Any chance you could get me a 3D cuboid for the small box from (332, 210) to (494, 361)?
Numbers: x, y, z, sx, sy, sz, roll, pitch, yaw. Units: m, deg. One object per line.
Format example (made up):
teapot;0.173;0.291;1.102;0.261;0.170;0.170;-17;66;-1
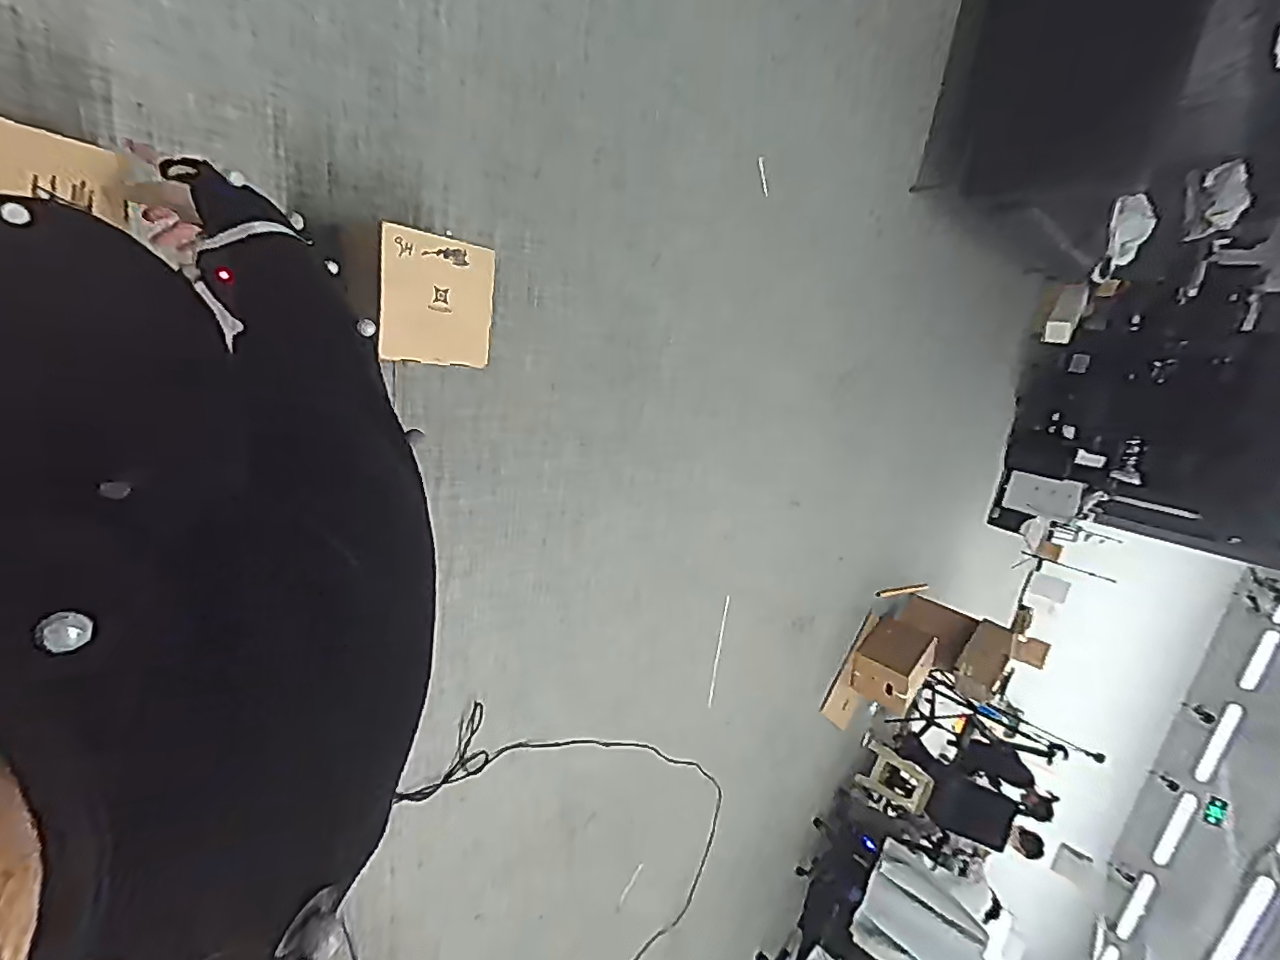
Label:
small box;-0.342;-0.285;0.807;0.168;0.176;0.179;-6;112;-47
